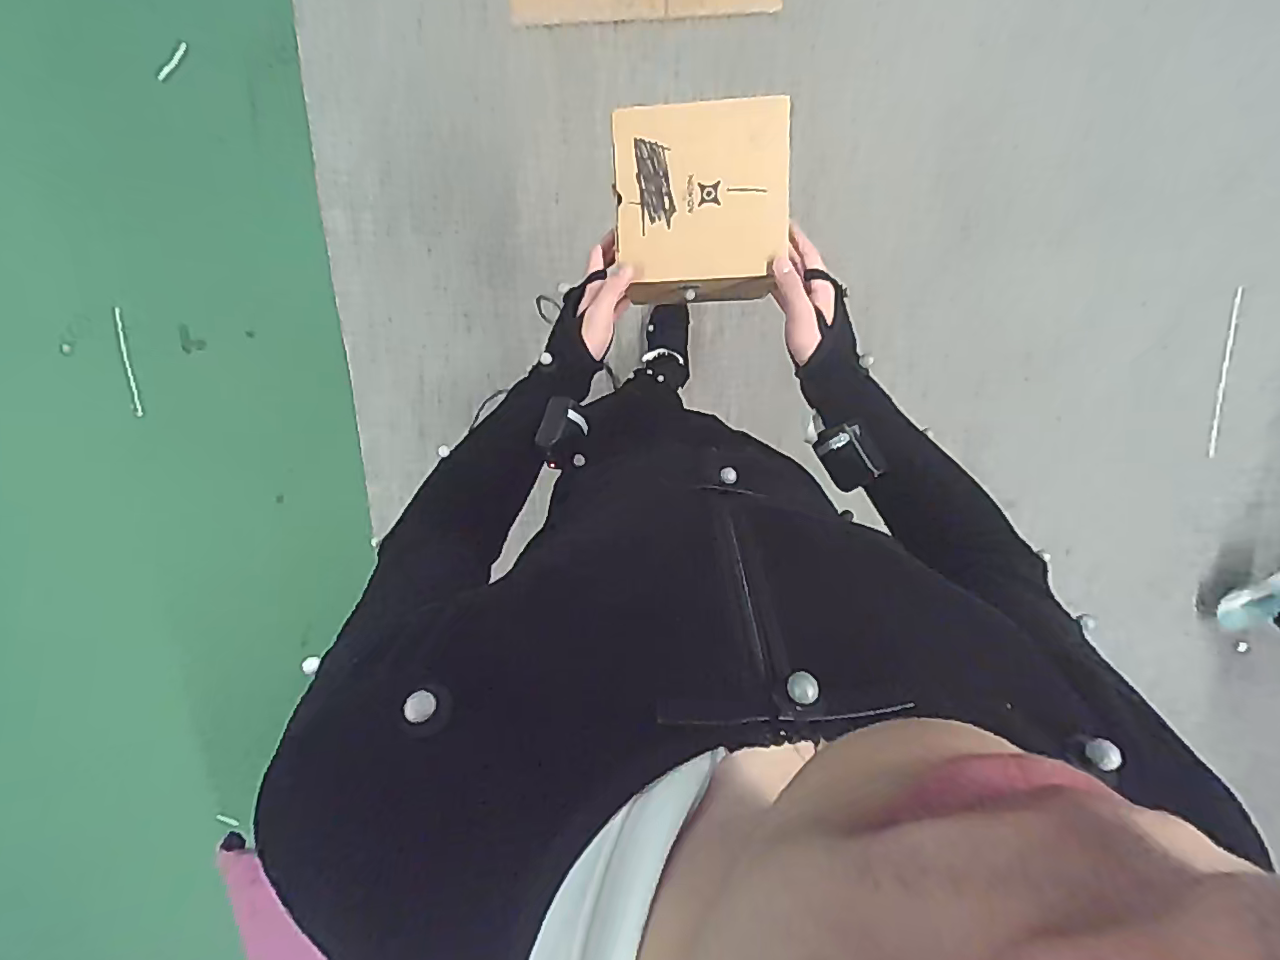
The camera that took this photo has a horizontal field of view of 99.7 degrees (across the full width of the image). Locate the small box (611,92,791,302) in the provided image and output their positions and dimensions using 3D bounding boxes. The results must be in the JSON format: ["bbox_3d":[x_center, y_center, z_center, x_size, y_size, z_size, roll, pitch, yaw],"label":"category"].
[{"bbox_3d":[0.067,-0.302,0.615,0.179,0.176,0.168,-1,100,4],"label":"small box"}]
